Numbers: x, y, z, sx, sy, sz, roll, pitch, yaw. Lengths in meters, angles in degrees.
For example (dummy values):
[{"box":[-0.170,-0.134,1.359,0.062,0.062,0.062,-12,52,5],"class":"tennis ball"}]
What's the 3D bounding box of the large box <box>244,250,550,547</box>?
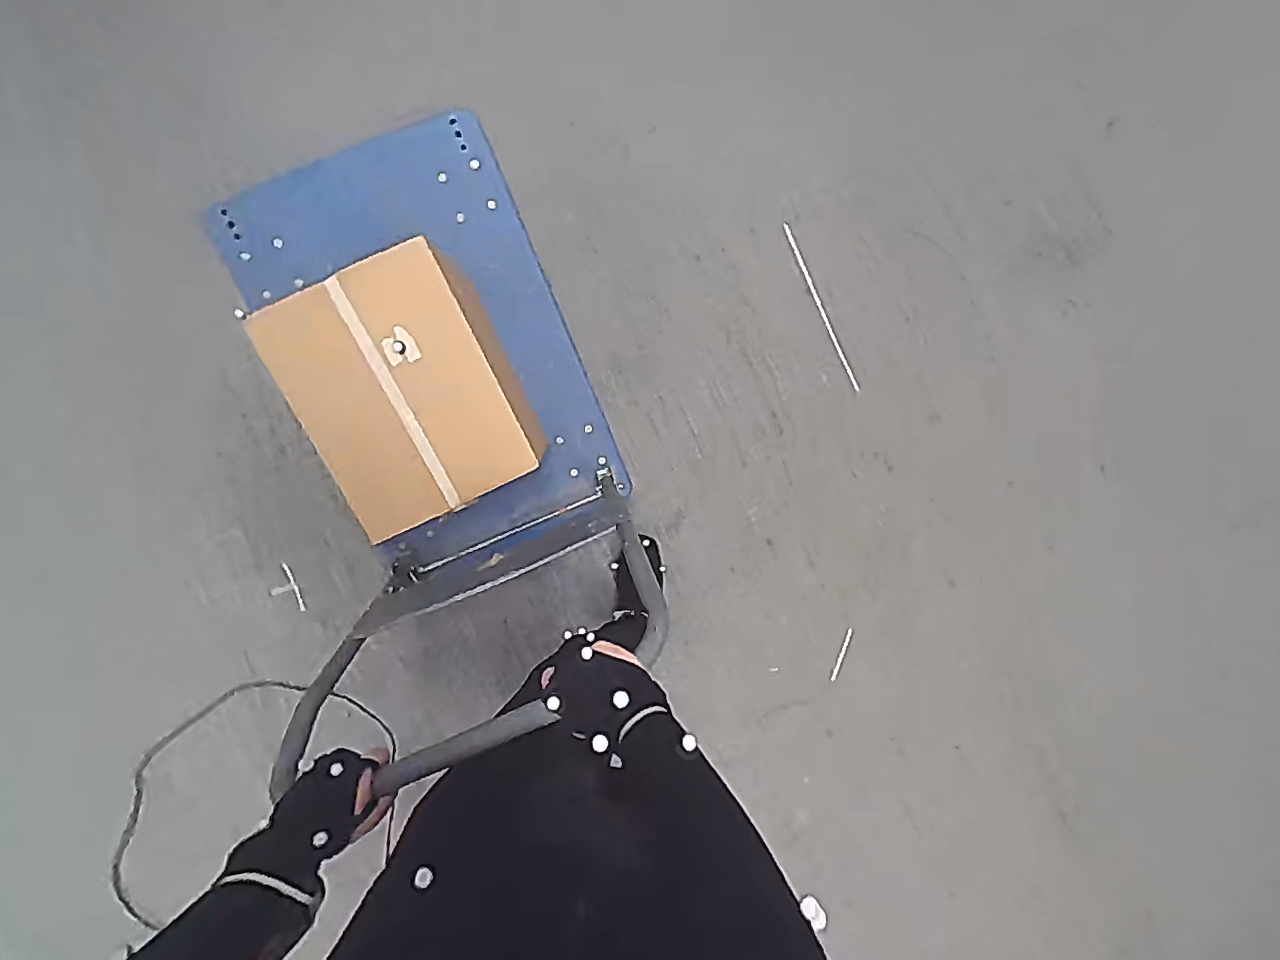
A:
[{"box":[-0.407,-0.149,1.025,0.320,0.320,0.408,-26,102,-1],"class":"large box"}]
